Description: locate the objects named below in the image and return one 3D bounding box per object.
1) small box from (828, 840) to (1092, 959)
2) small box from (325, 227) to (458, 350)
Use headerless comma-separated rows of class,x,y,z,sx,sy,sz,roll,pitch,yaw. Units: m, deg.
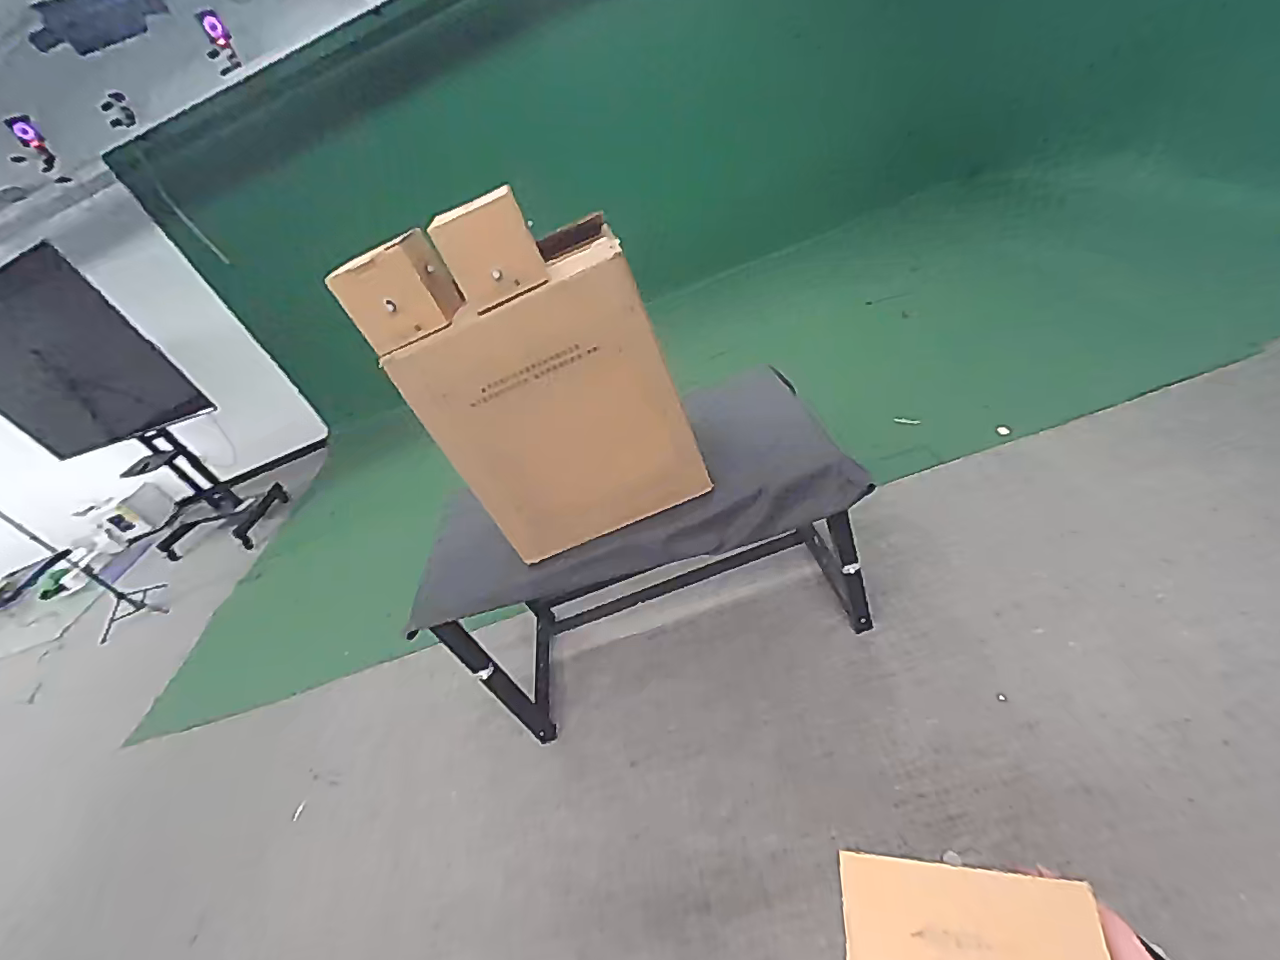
small box,0.241,0.402,0.421,0.168,0.176,0.179,-4,52,18
small box,-0.498,-0.391,1.117,0.168,0.176,0.179,-22,35,6
